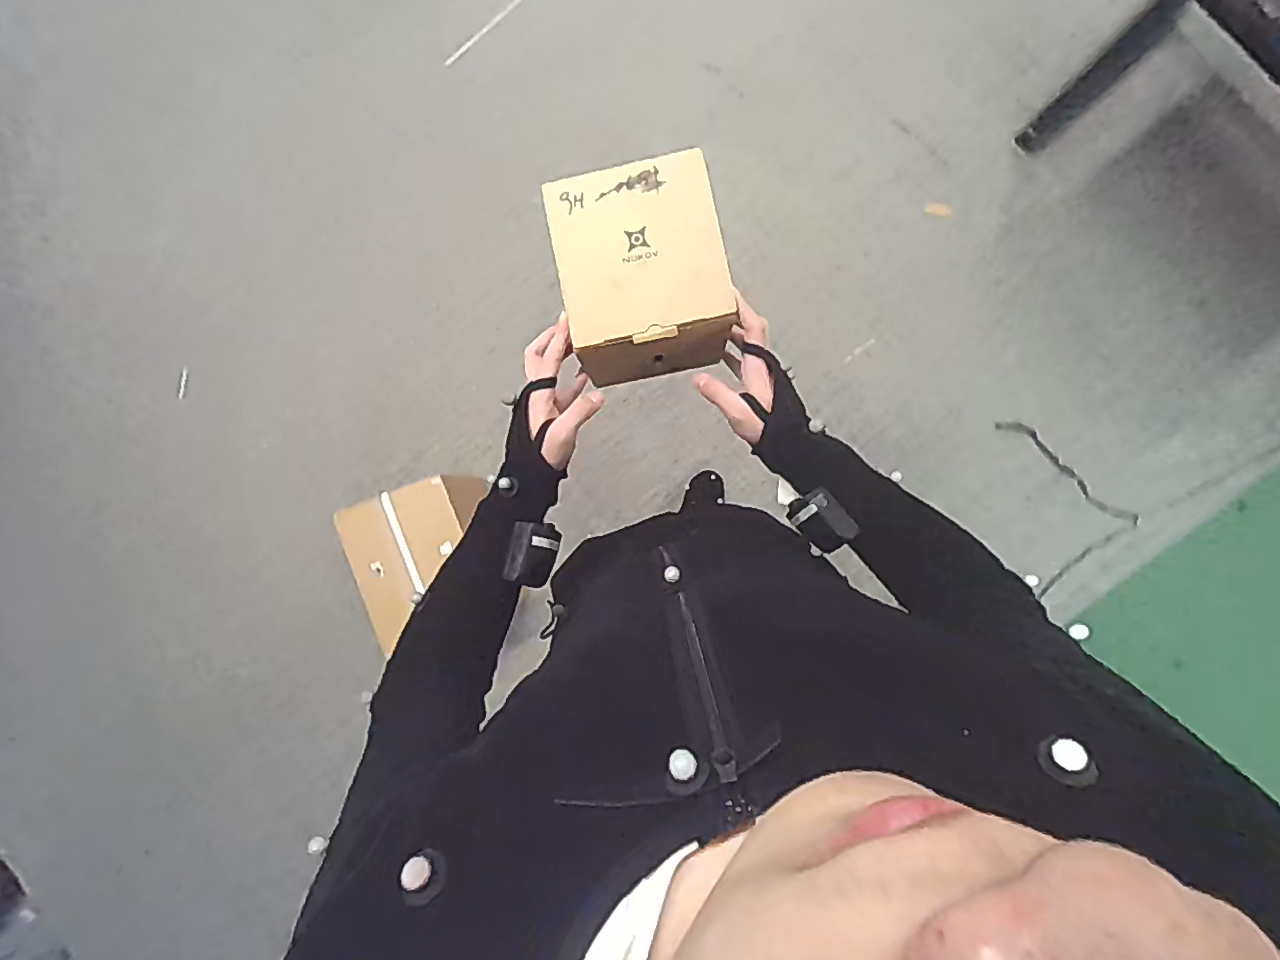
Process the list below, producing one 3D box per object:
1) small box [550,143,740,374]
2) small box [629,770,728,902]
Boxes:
[{"bbox_3d":[0.009,-0.226,0.604,0.168,0.176,0.179,-10,87,2],"label":"small box"},{"bbox_3d":[0.086,0.795,1.229,0.179,0.176,0.168,17,89,3],"label":"small box"}]
